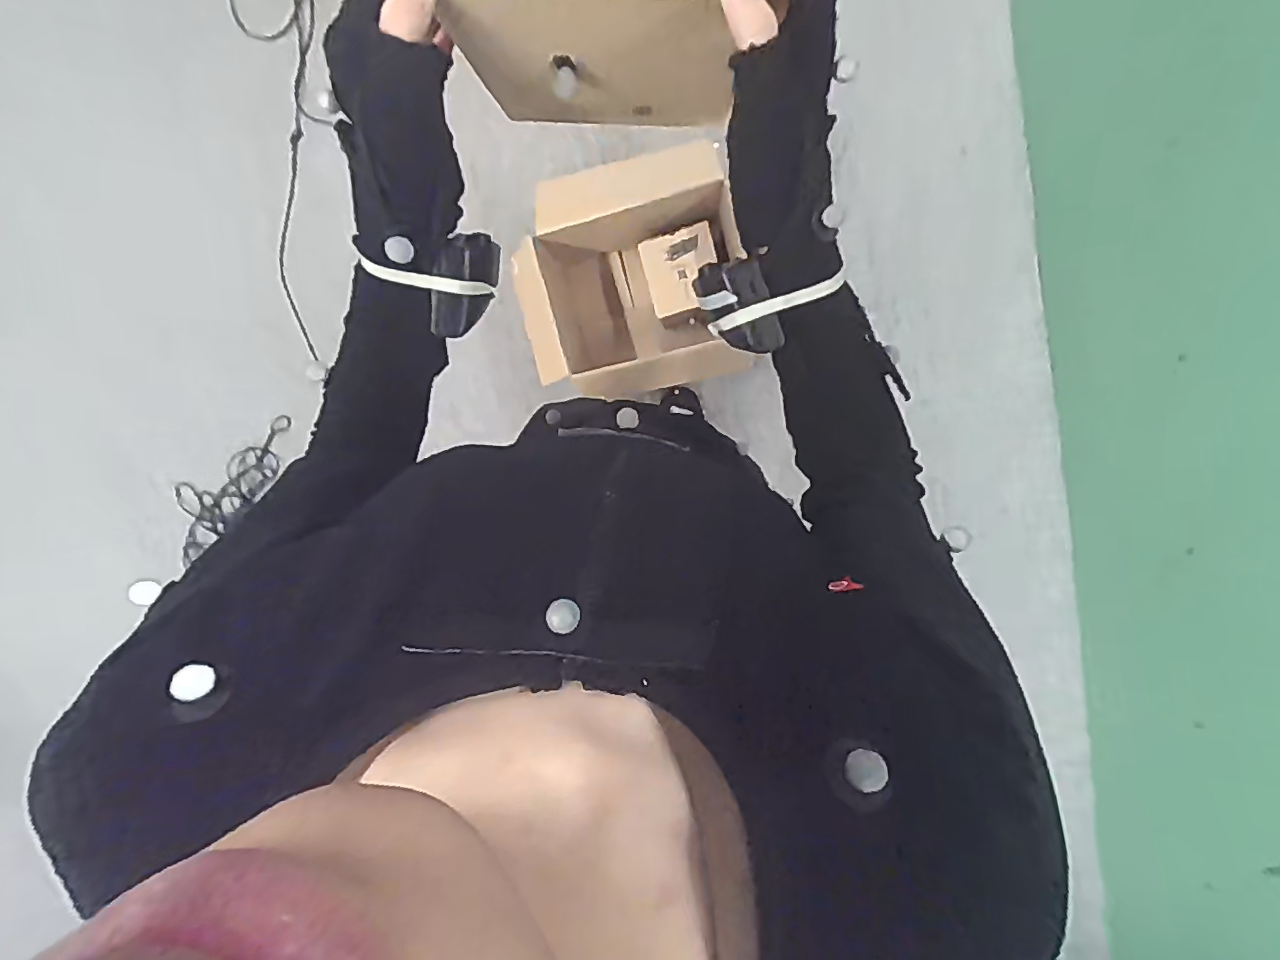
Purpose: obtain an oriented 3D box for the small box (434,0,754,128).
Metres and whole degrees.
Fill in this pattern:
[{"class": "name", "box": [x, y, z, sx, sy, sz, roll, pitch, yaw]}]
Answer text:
[{"class": "small box", "box": [-0.016, -0.335, 0.323, 0.168, 0.176, 0.179, 3, 105, 2]}]
